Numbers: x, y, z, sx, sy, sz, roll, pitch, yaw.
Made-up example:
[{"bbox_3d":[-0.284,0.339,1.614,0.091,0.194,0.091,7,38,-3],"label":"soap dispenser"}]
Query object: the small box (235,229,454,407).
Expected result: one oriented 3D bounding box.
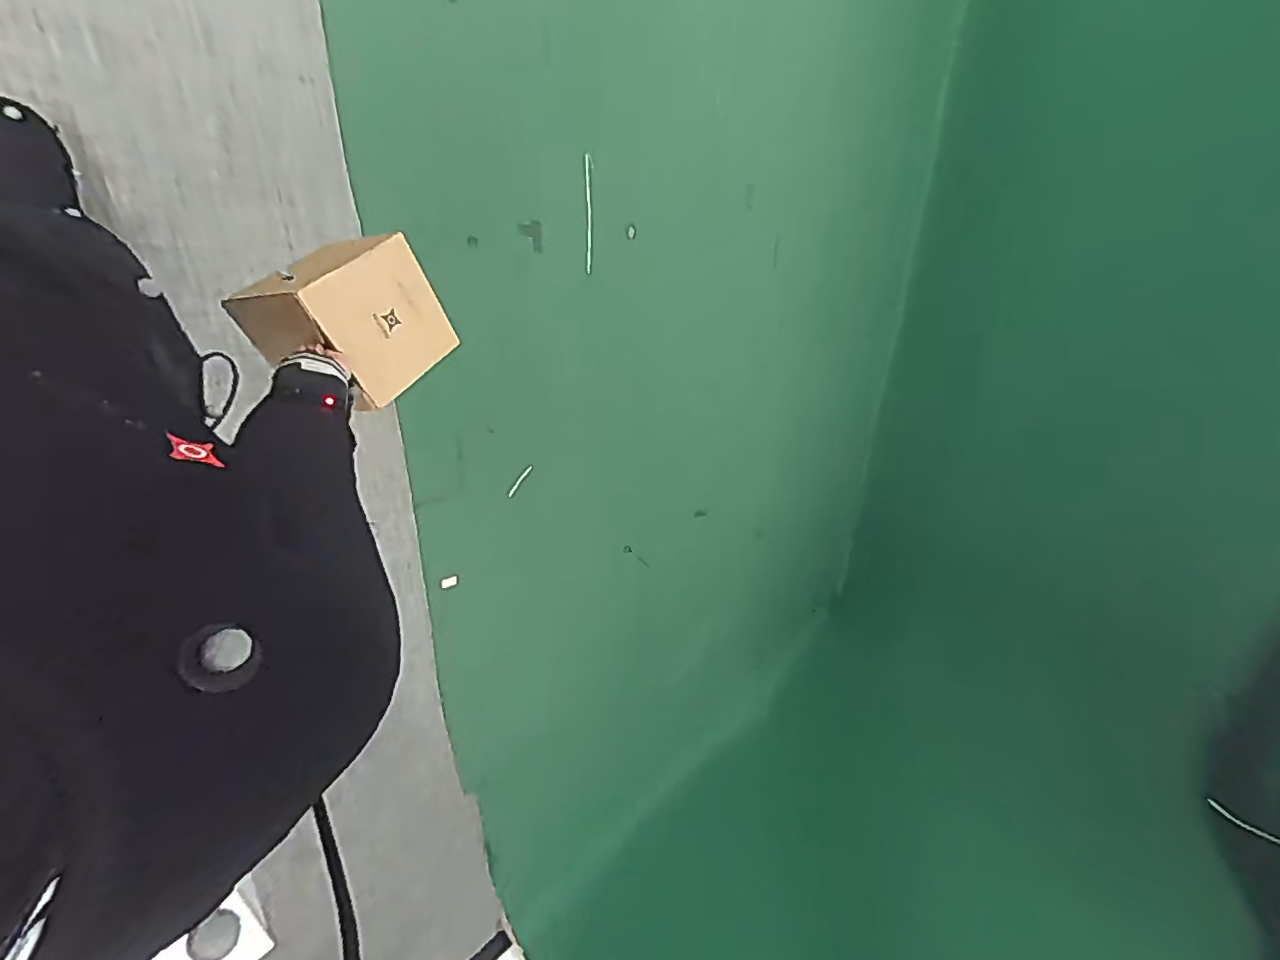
[{"bbox_3d":[-0.399,-0.215,0.734,0.179,0.176,0.168,-61,145,-38],"label":"small box"}]
